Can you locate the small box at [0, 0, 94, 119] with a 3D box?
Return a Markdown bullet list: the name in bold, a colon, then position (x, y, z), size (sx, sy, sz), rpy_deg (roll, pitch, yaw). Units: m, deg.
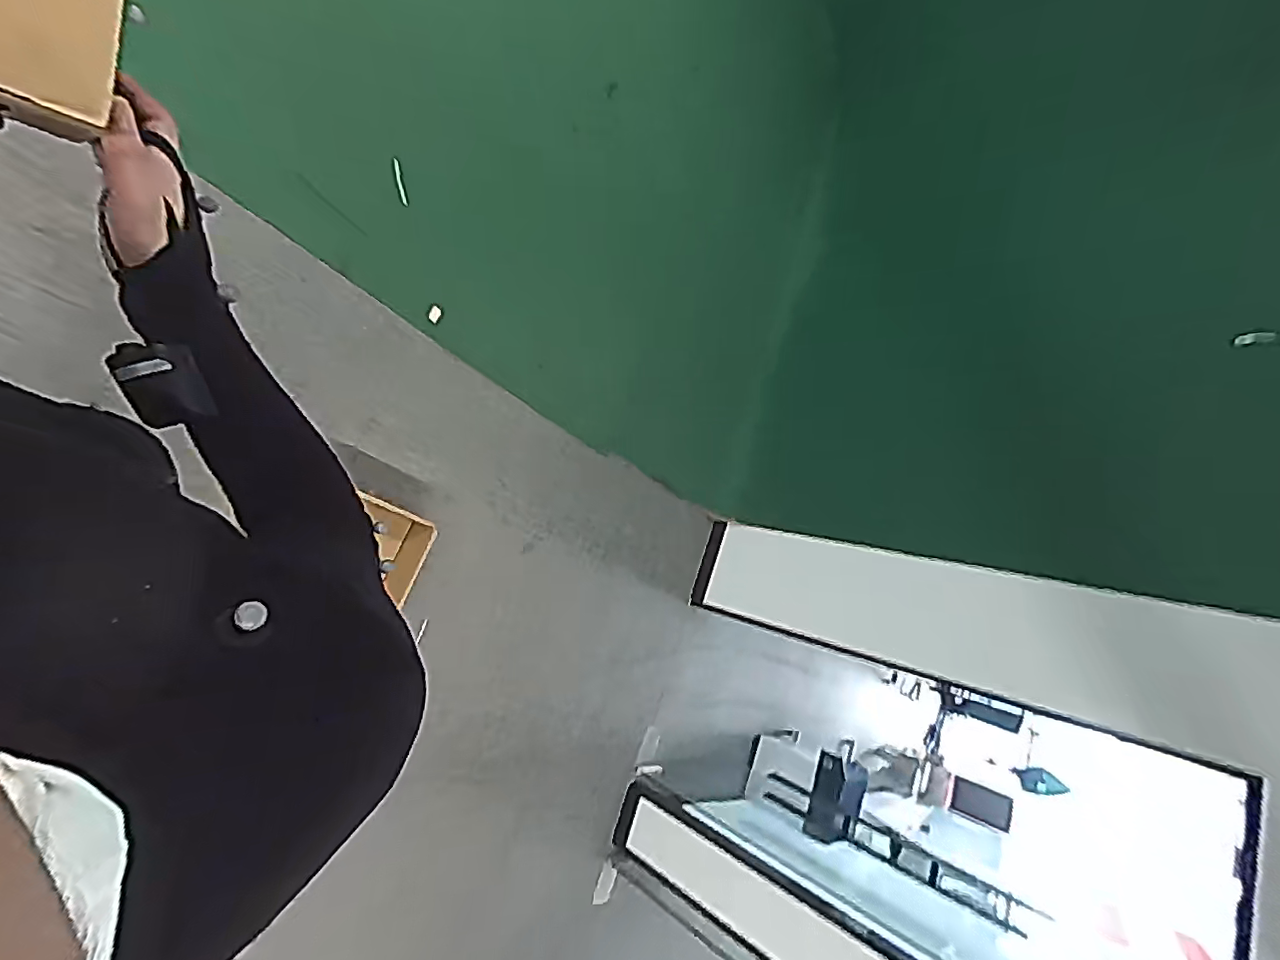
- **small box**: position (-0.417, -0.330, 0.294), size (0.168, 0.176, 0.179), rpy_deg (4, 106, -52)
